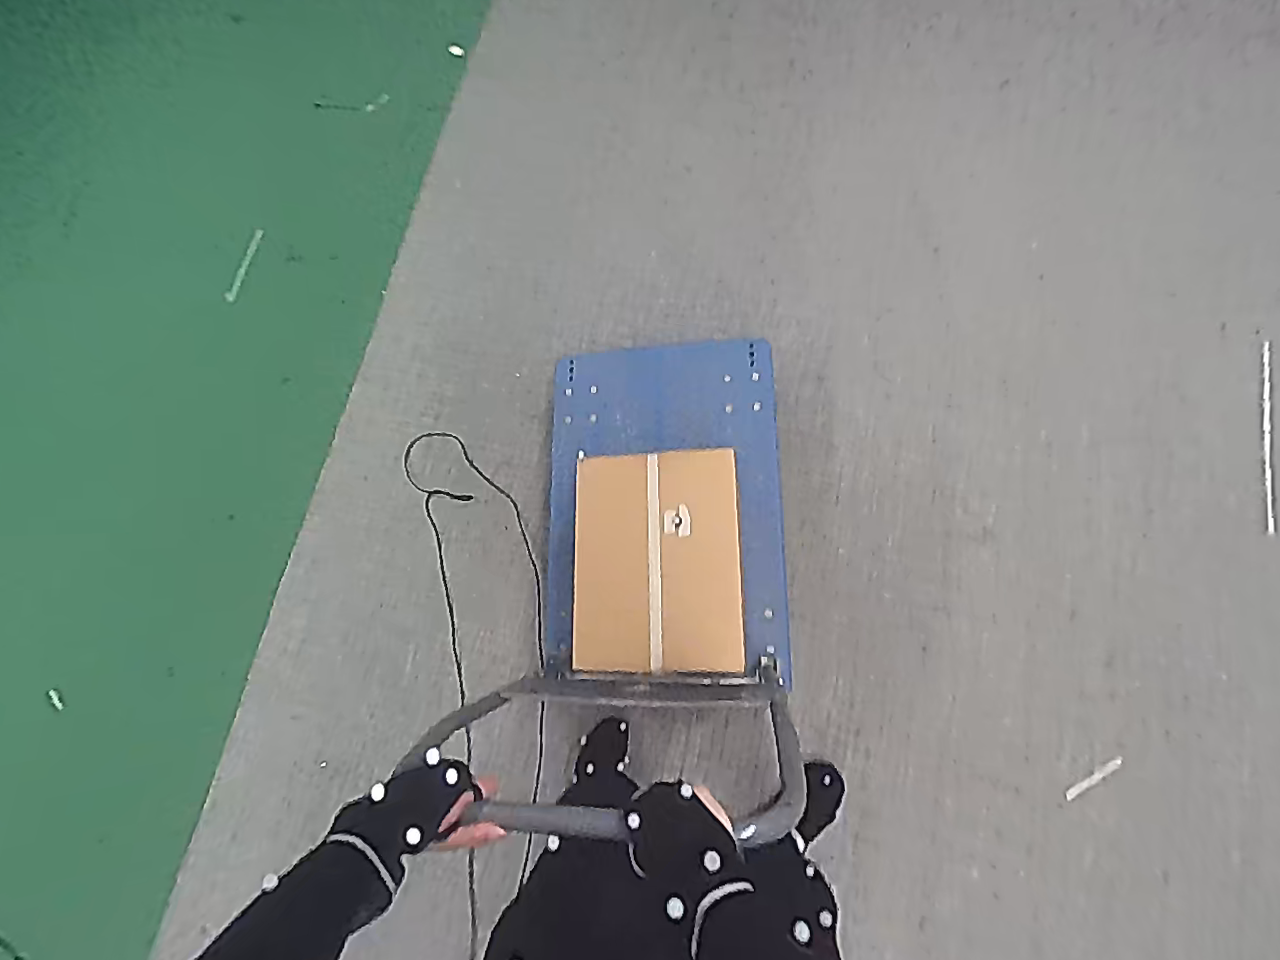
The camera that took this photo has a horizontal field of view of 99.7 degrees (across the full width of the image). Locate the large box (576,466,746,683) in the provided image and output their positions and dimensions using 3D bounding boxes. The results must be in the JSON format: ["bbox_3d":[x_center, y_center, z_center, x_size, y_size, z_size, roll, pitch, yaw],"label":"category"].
[{"bbox_3d":[0.057,0.211,1.169,0.320,0.320,0.408,-4,75,10],"label":"large box"}]
